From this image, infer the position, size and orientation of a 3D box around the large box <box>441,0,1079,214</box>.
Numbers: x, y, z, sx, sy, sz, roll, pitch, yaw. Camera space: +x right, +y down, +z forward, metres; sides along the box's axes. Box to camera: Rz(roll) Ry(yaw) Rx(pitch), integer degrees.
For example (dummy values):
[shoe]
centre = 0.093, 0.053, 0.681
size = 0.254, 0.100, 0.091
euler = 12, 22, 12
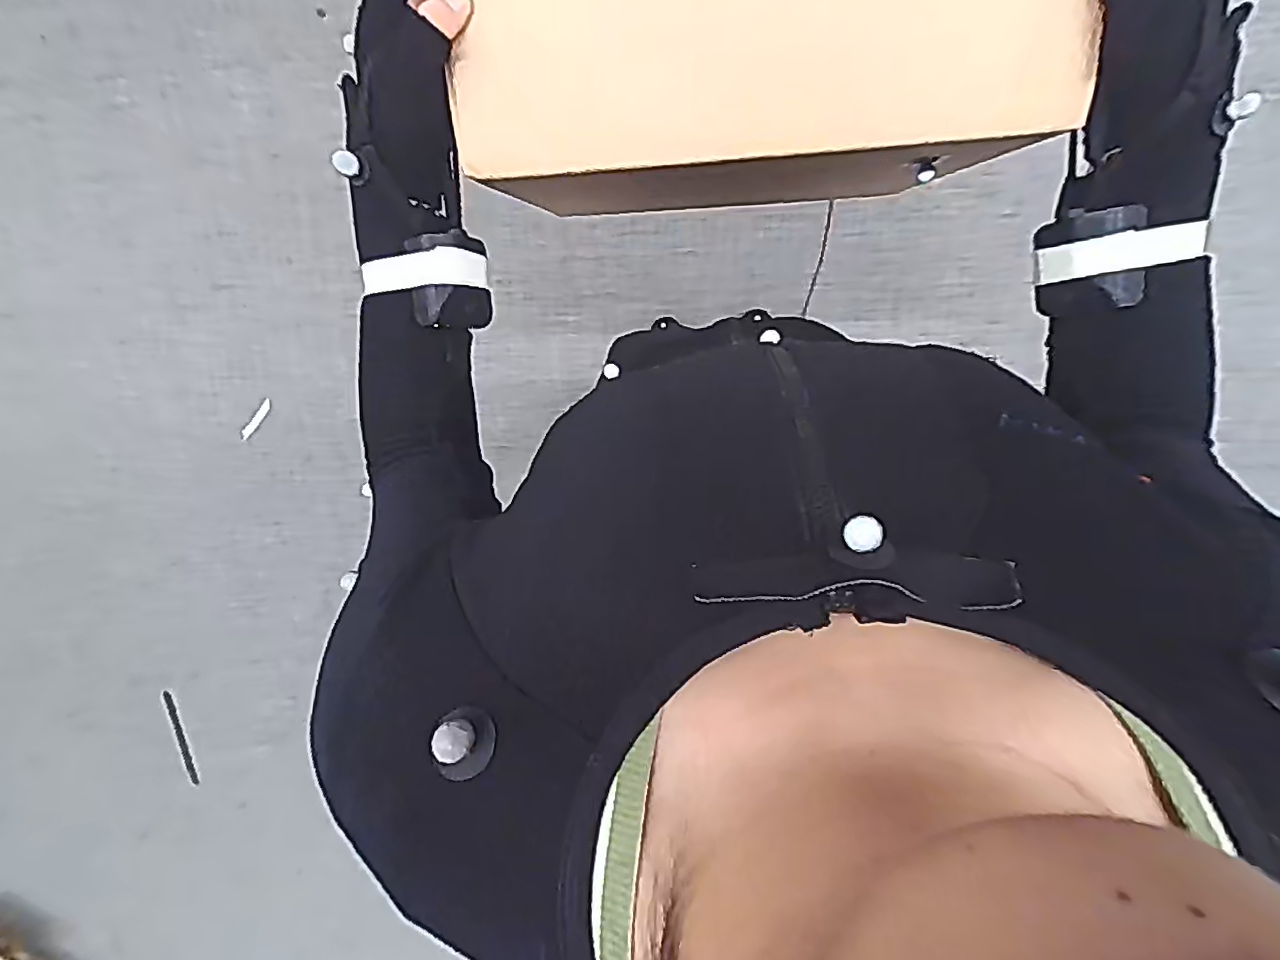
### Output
[large box]
centre = 0.075, -0.416, 0.452
size = 0.408, 0.320, 0.320
euler = -2, 111, 4
